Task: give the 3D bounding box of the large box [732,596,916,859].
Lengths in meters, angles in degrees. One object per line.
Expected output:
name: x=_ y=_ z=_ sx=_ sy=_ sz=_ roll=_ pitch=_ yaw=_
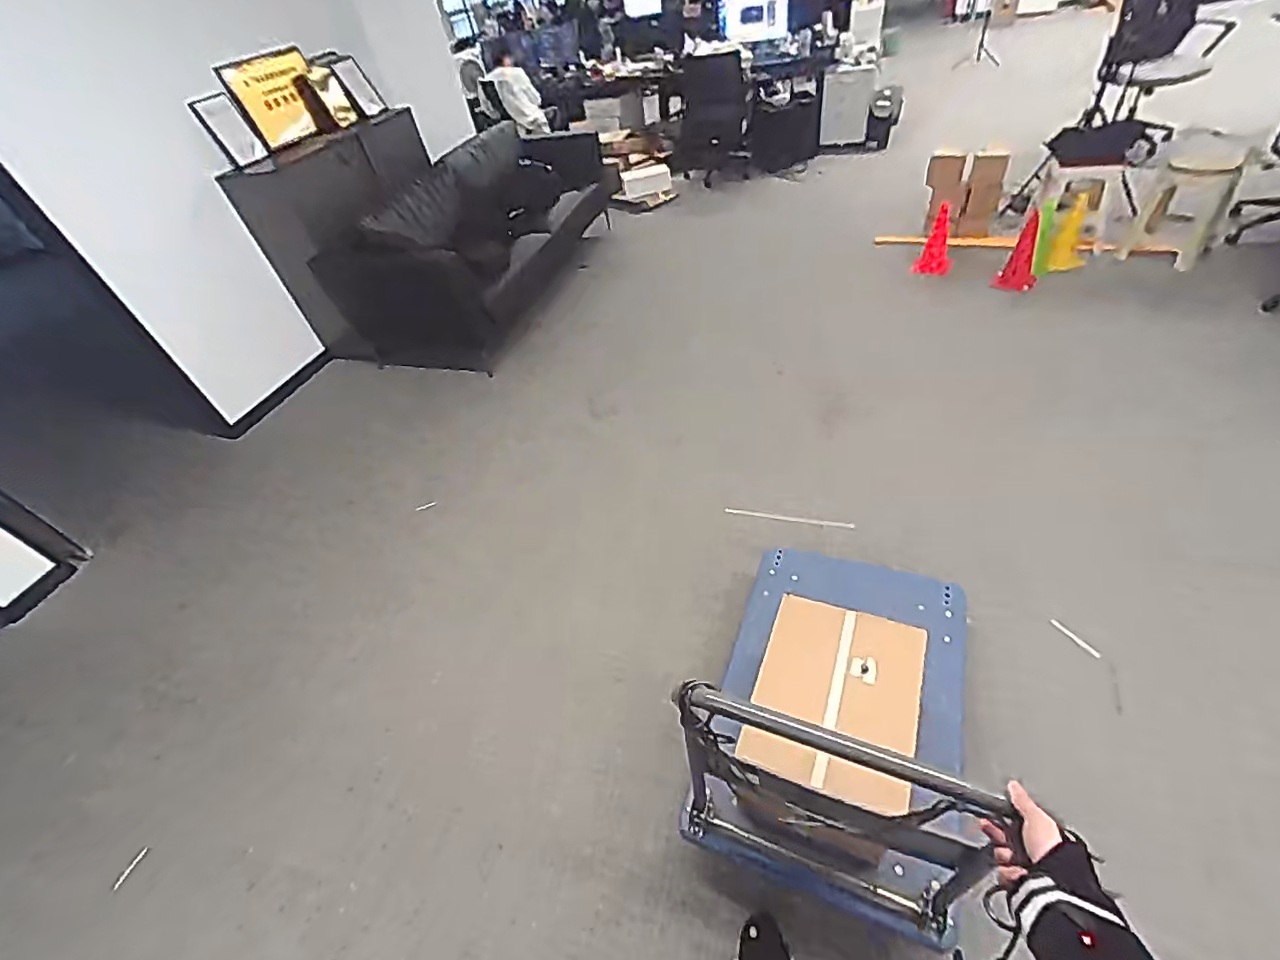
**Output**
large box: x=0.417 y=0.547 z=1.230 sx=0.320 sy=0.320 sz=0.408 roll=13 pitch=48 yaw=23
